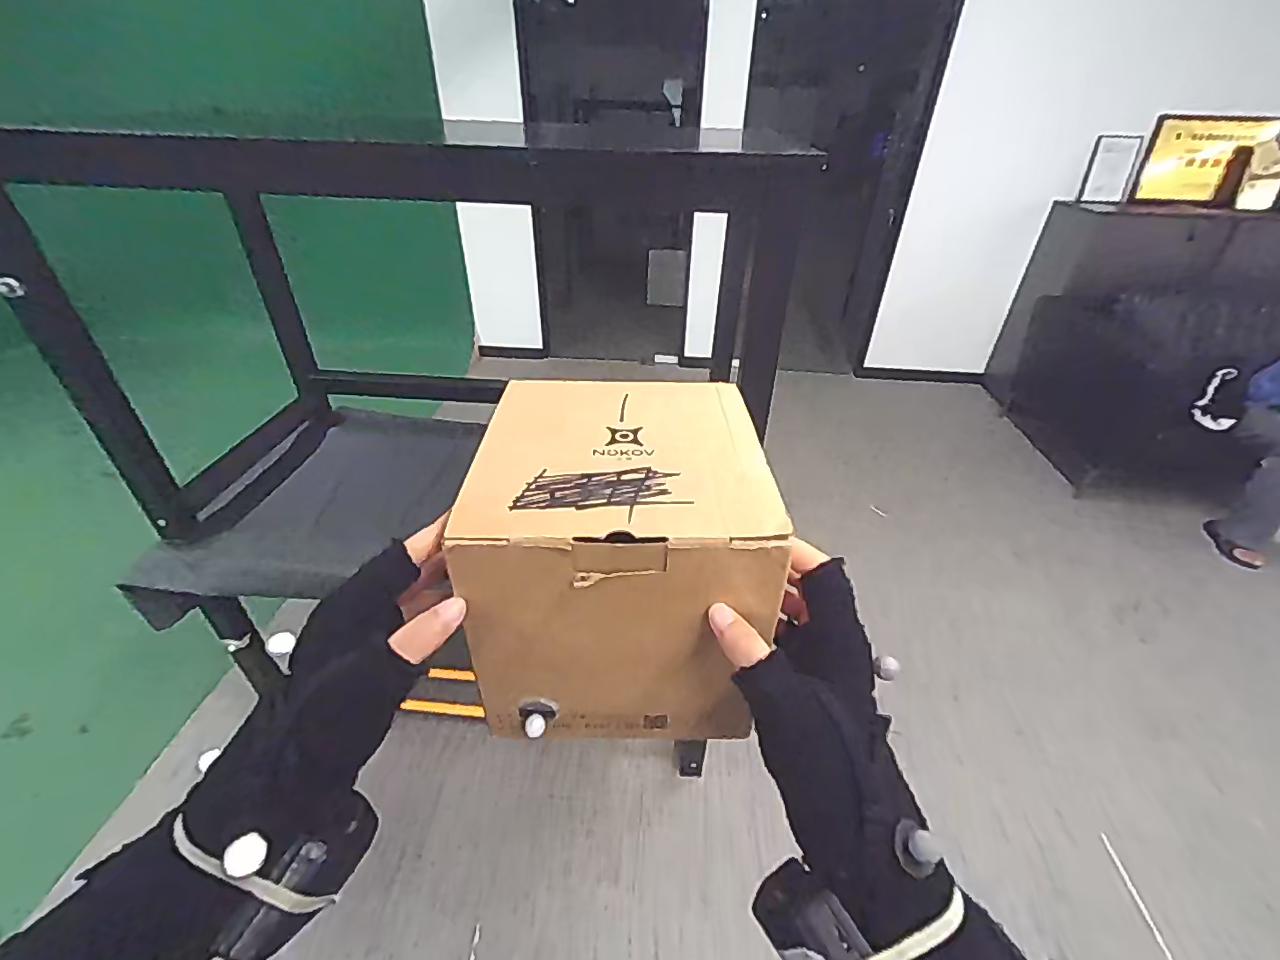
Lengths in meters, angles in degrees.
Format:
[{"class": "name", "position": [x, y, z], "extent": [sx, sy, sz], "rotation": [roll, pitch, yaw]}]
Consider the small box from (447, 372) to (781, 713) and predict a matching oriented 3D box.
[{"class": "small box", "position": [-0.013, 0.037, 0.370], "extent": [0.168, 0.176, 0.179], "rotation": [1, 33, -1]}]
